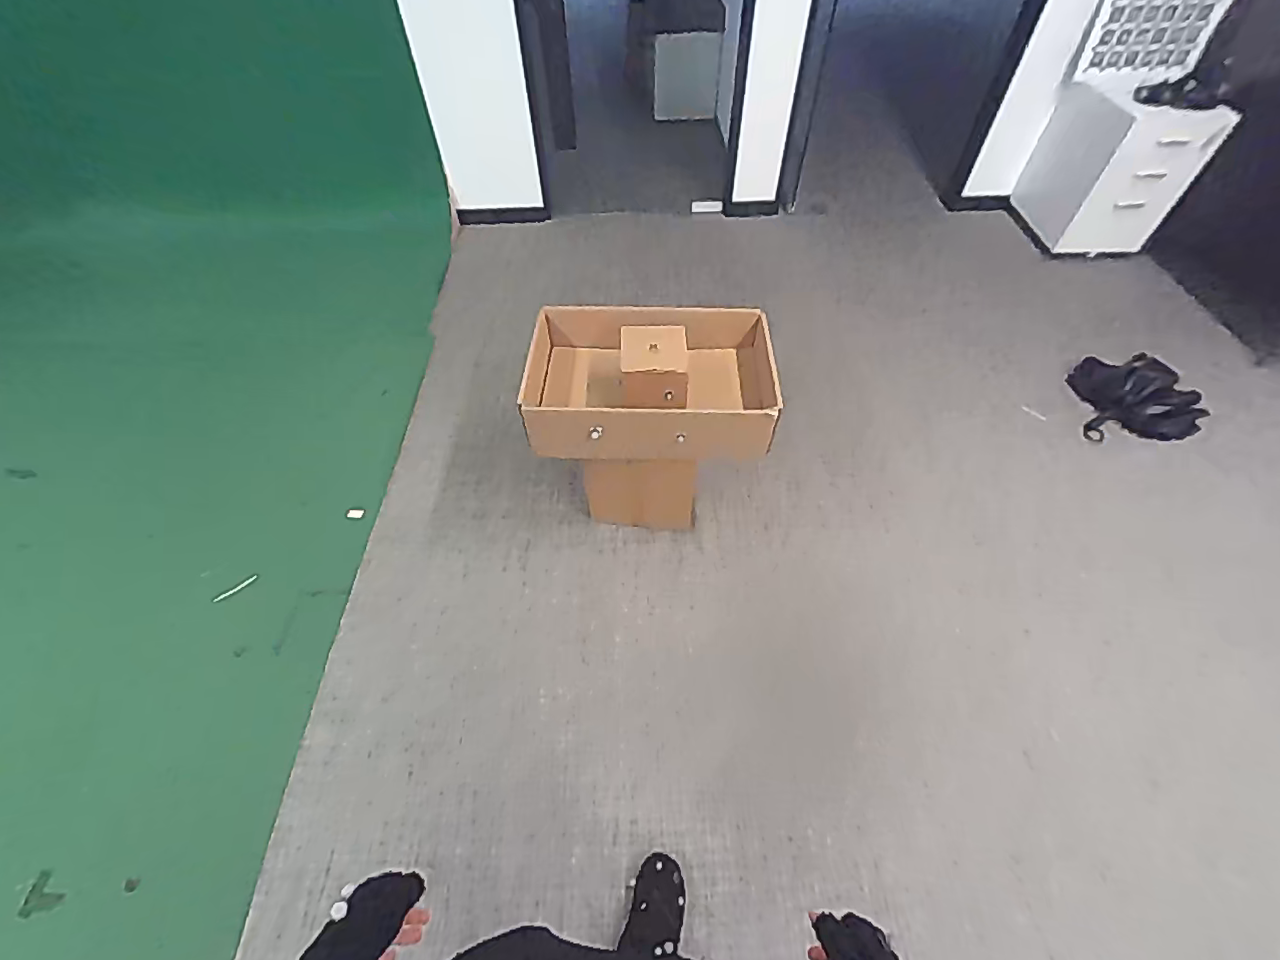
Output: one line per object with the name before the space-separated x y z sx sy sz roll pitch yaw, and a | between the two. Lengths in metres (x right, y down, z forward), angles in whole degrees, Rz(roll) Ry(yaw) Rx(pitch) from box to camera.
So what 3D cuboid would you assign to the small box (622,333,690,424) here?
small box | 0.039 -0.260 1.405 0.168 0.176 0.179 0 50 -1
